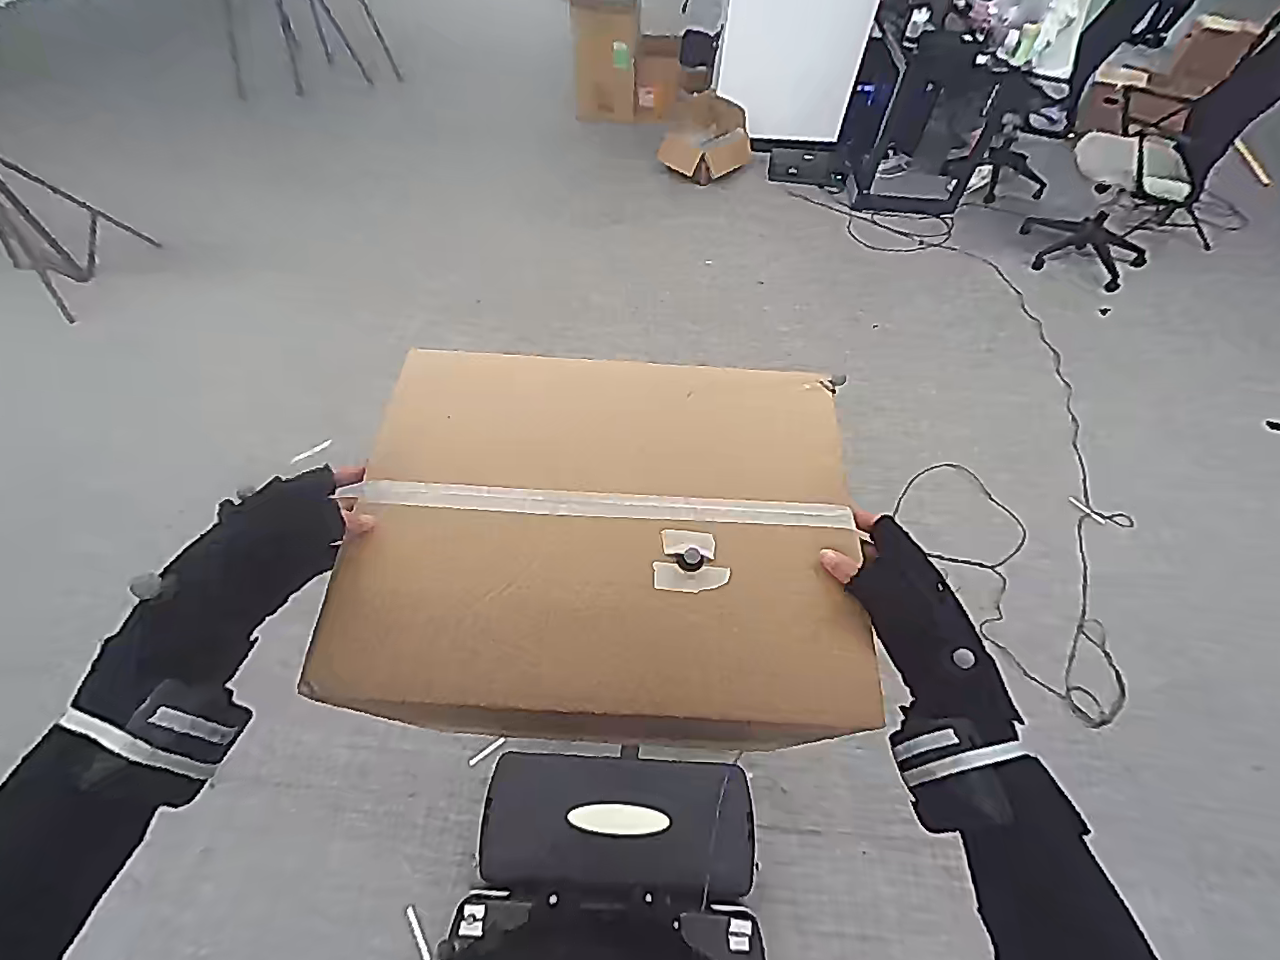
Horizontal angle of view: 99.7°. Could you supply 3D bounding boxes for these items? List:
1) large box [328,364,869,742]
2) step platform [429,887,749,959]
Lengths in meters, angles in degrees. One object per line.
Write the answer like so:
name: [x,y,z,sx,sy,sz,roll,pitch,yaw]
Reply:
large box: [-0.031,0.100,0.593,0.408,0.320,0.320,4,61,-1]
step platform: [-0.106,1.067,1.153,0.684,0.204,0.286,3,54,1]
